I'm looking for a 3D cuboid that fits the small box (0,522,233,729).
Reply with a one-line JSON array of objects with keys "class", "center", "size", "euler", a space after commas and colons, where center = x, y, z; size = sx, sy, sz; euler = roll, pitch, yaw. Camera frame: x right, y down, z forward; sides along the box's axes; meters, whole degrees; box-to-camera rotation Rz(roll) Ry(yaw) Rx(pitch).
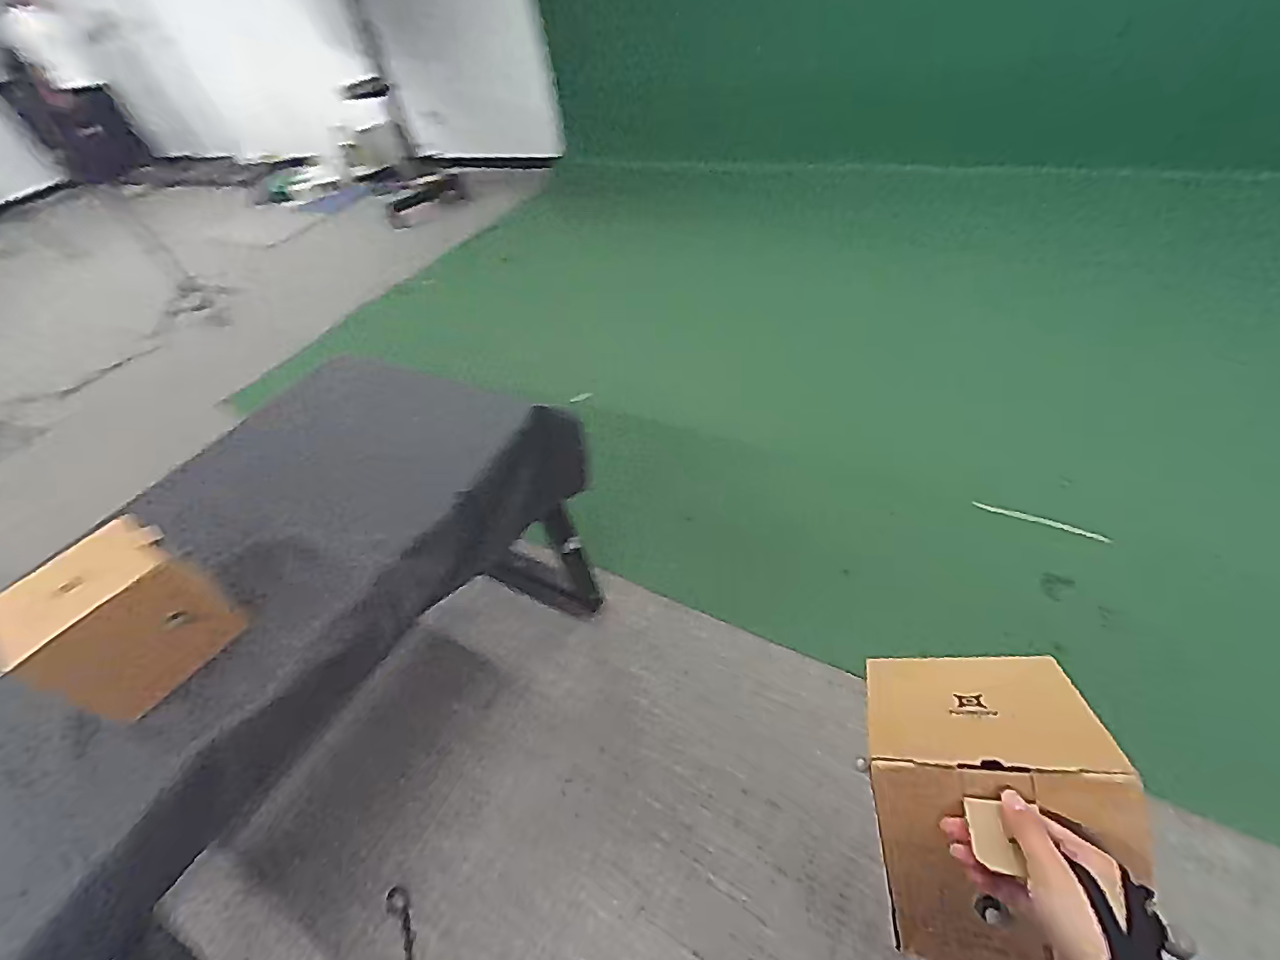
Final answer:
[{"class": "small box", "center": [-0.701, 0.194, 0.731], "size": [0.168, 0.176, 0.179], "euler": [22, 57, 31]}]
